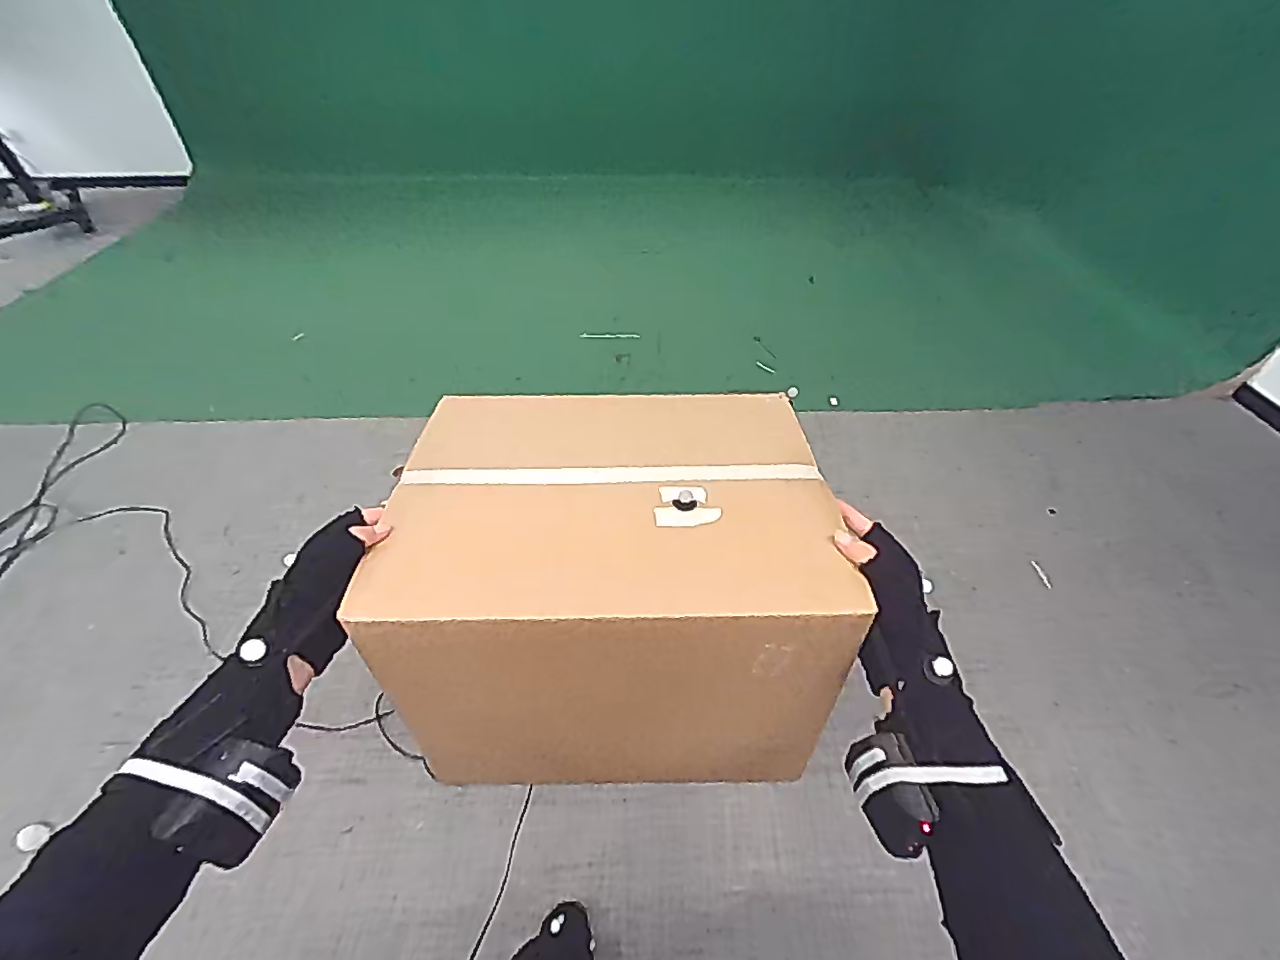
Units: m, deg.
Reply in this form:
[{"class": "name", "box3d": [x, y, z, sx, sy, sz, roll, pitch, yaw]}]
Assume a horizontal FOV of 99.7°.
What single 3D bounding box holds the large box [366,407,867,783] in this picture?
[{"class": "large box", "box3d": [-0.024, 0.124, 0.629, 0.408, 0.320, 0.320, 0, 40, -2]}]
